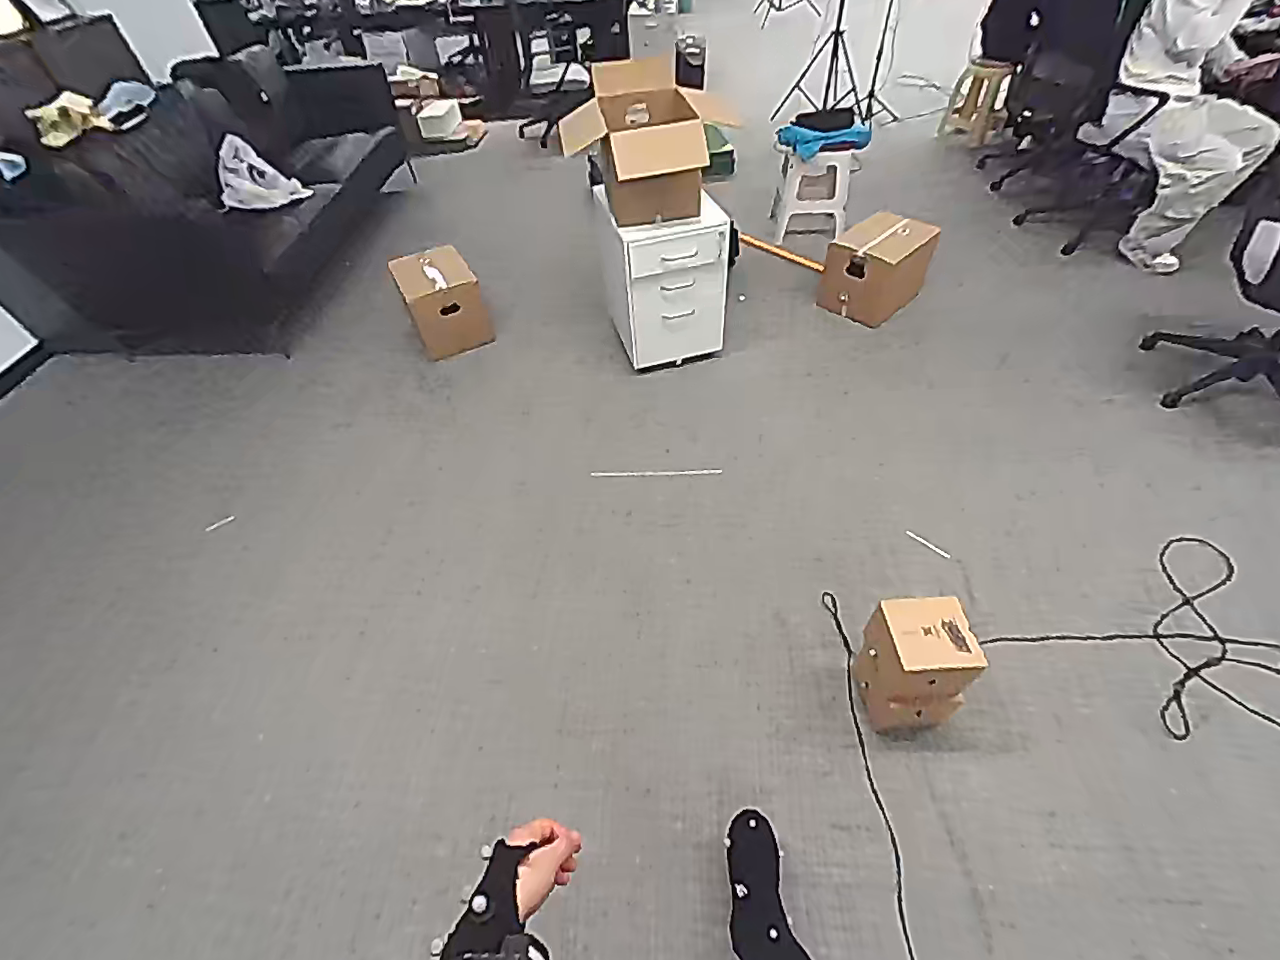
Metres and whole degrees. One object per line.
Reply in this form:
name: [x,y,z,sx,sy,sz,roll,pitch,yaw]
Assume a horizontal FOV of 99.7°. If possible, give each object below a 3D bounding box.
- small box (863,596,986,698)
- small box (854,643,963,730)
small box: [0.631,0.381,1.224,0.179,0.176,0.168,-5,48,3]
small box: [0.646,0.502,1.334,0.179,0.176,0.168,-6,49,-1]
